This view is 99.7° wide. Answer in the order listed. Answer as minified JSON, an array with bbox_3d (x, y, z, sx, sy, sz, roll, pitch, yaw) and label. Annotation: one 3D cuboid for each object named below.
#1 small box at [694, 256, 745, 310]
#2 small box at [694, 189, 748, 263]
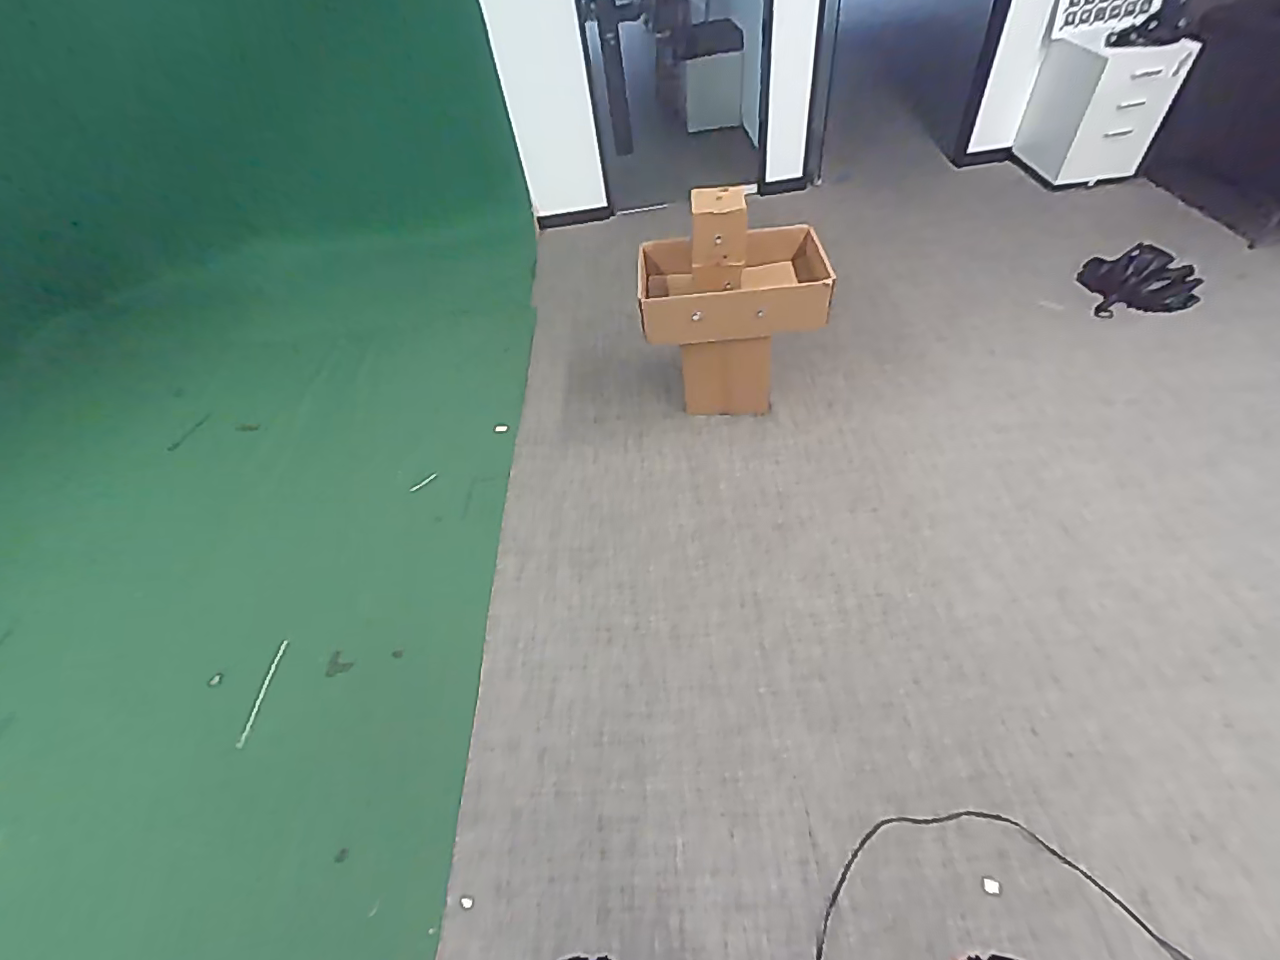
[{"bbox_3d":[0.271,-0.702,1.871,0.168,0.176,0.179,-1,47,5],"label":"small box"},{"bbox_3d":[0.260,-0.818,1.755,0.168,0.176,0.179,-1,50,5],"label":"small box"}]
